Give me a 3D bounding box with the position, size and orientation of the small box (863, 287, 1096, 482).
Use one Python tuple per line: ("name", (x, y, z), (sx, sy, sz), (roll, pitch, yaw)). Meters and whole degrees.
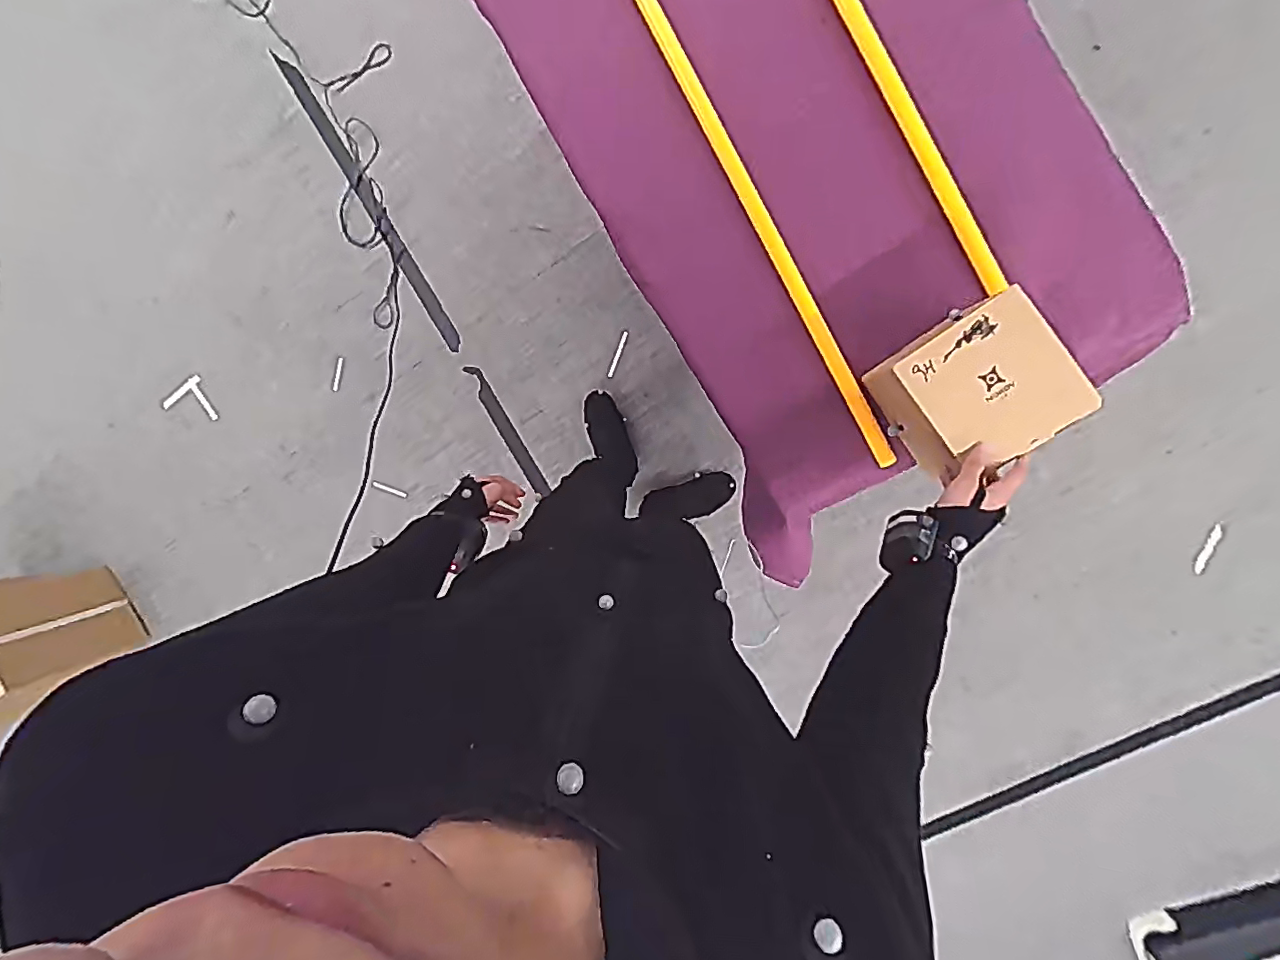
("small box", (0.428, -0.121, 0.716), (0.168, 0.176, 0.179), (-34, 90, 11))
